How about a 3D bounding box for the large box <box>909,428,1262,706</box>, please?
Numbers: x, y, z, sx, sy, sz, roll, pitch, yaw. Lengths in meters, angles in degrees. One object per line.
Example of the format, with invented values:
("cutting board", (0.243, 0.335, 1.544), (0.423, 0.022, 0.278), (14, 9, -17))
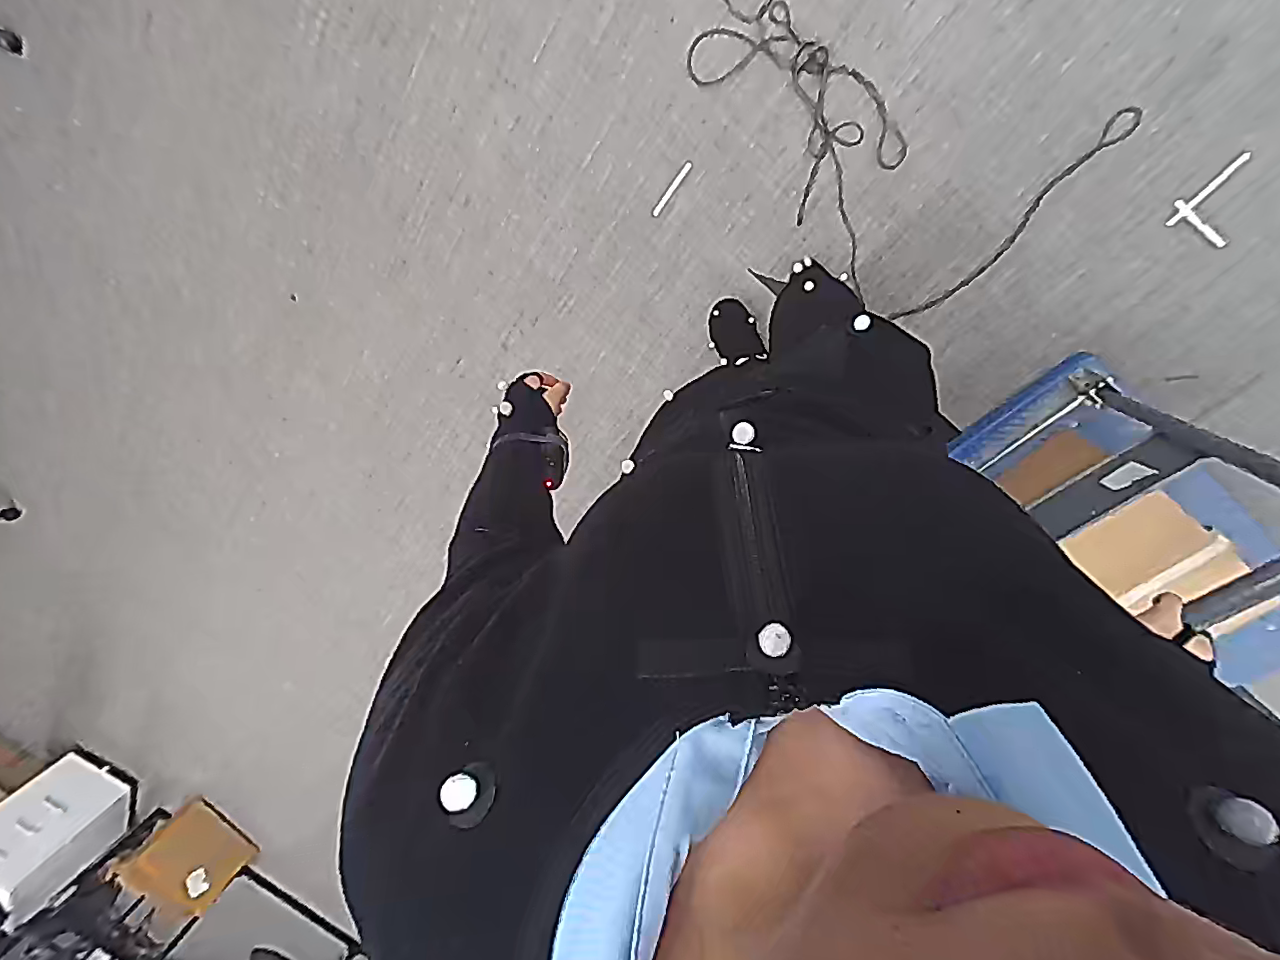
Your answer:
("large box", (0.851, 0.168, 1.114), (0.320, 0.320, 0.408), (39, 117, -3))
